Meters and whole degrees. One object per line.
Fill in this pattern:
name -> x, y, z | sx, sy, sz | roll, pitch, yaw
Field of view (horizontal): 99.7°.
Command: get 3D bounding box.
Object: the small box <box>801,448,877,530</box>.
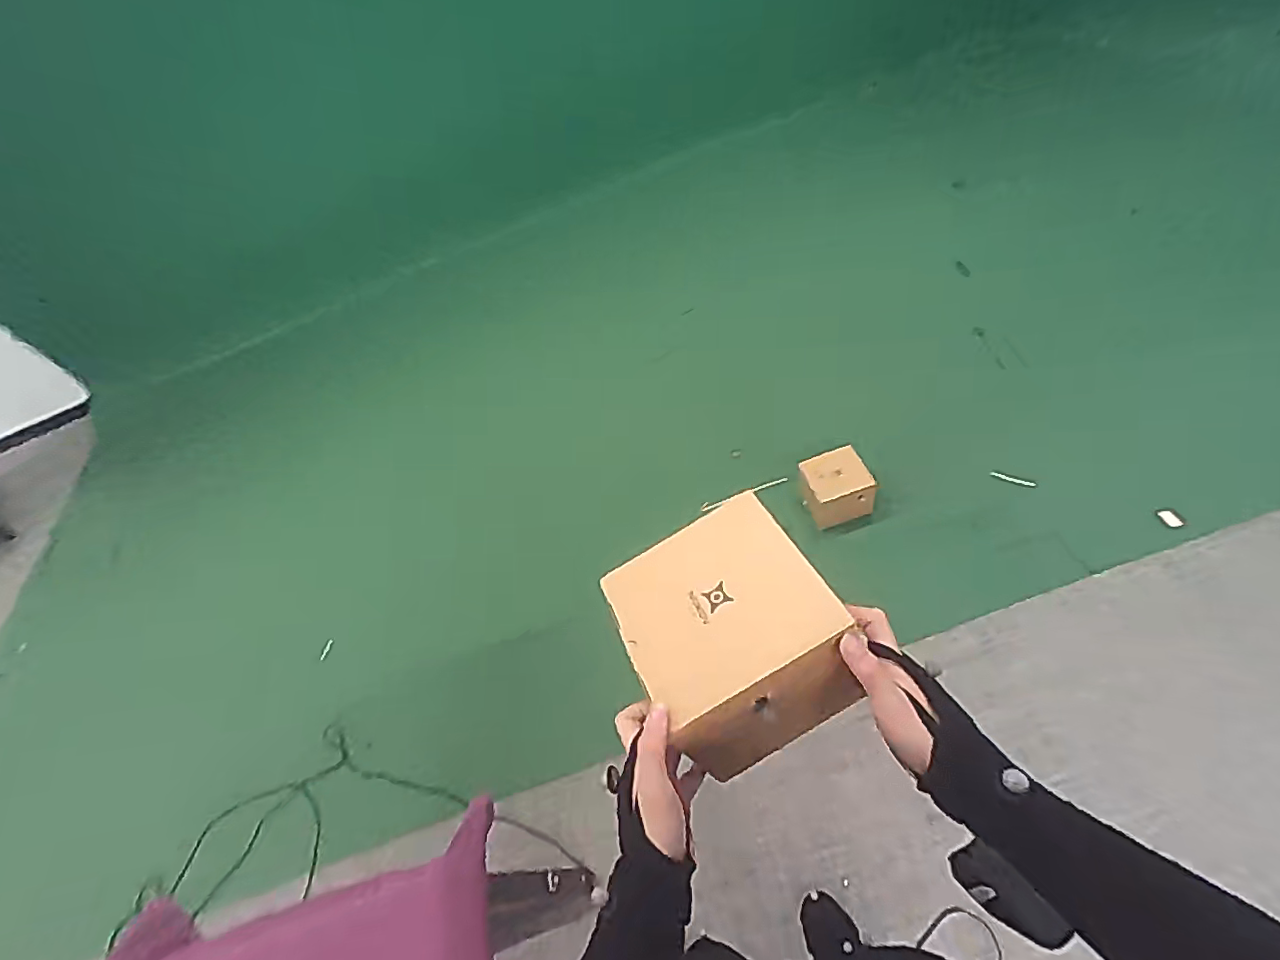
small box -> 0.622, 0.031, 1.713 | 0.179, 0.176, 0.168 | -19, 52, 3

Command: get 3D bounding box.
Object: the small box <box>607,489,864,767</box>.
small box -> 0.098, 0.148, 0.528 | 0.179, 0.176, 0.168 | -32, 45, 2
